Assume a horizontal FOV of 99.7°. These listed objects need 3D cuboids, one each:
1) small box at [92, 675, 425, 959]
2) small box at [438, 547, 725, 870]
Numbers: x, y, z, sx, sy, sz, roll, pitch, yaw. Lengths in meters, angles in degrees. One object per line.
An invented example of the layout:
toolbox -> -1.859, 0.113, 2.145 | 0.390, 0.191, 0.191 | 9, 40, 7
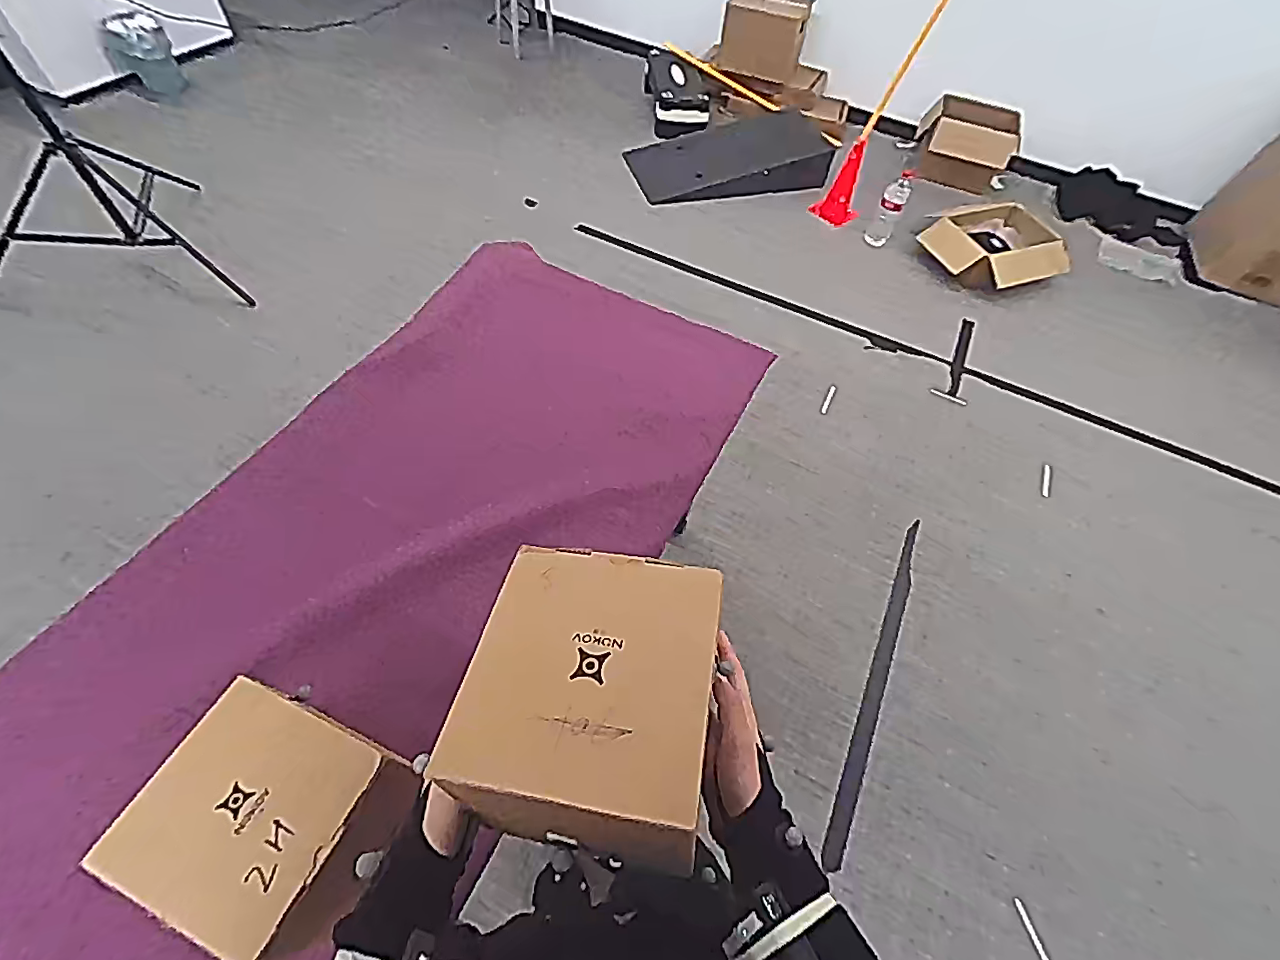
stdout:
small box -> -0.349, 0.326, 0.538 | 0.179, 0.176, 0.168 | 23, 57, 9
small box -> -0.027, 0.180, 0.431 | 0.168, 0.176, 0.179 | 5, 48, 10
